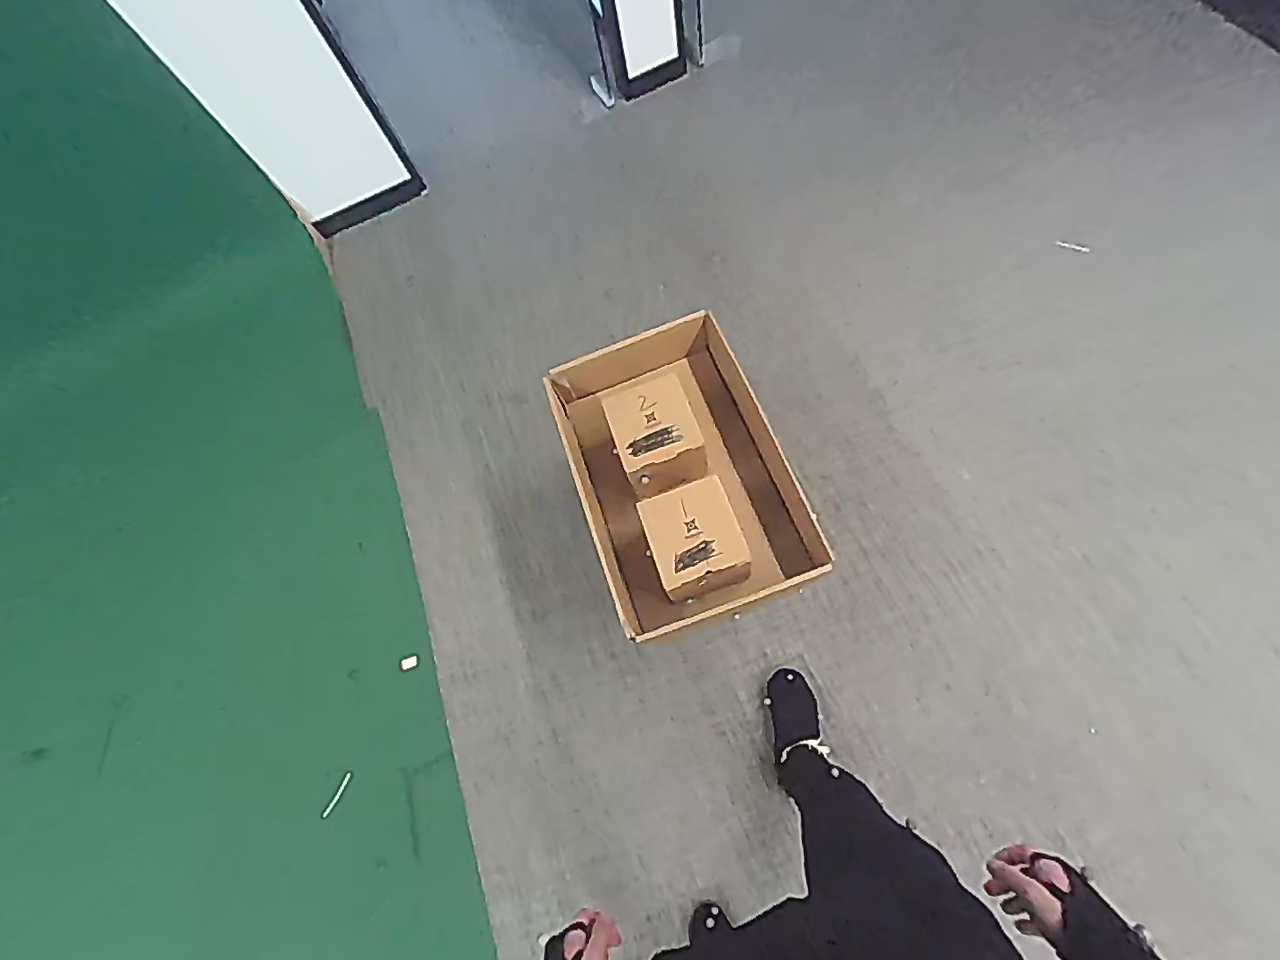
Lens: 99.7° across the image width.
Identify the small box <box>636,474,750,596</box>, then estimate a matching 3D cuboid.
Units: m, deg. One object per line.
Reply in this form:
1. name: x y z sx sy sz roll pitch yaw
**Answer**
1. small box: 0.106 0.117 1.051 0.168 0.176 0.179 -20 66 1
